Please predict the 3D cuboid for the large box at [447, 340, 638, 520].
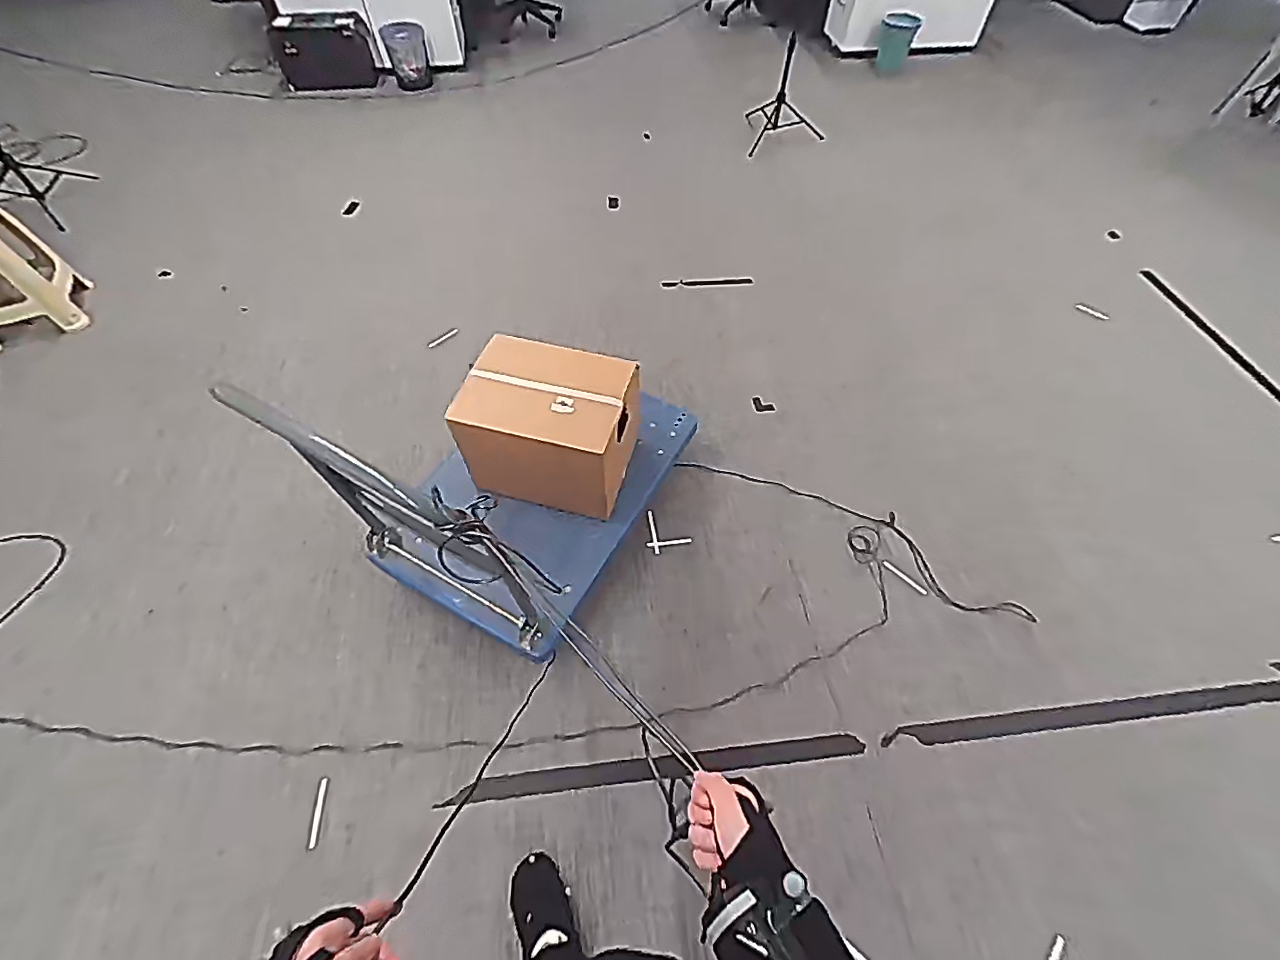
[{"bbox_3d":[-0.239,-0.130,1.468,0.408,0.320,0.320,13,57,7],"label":"large box"}]
